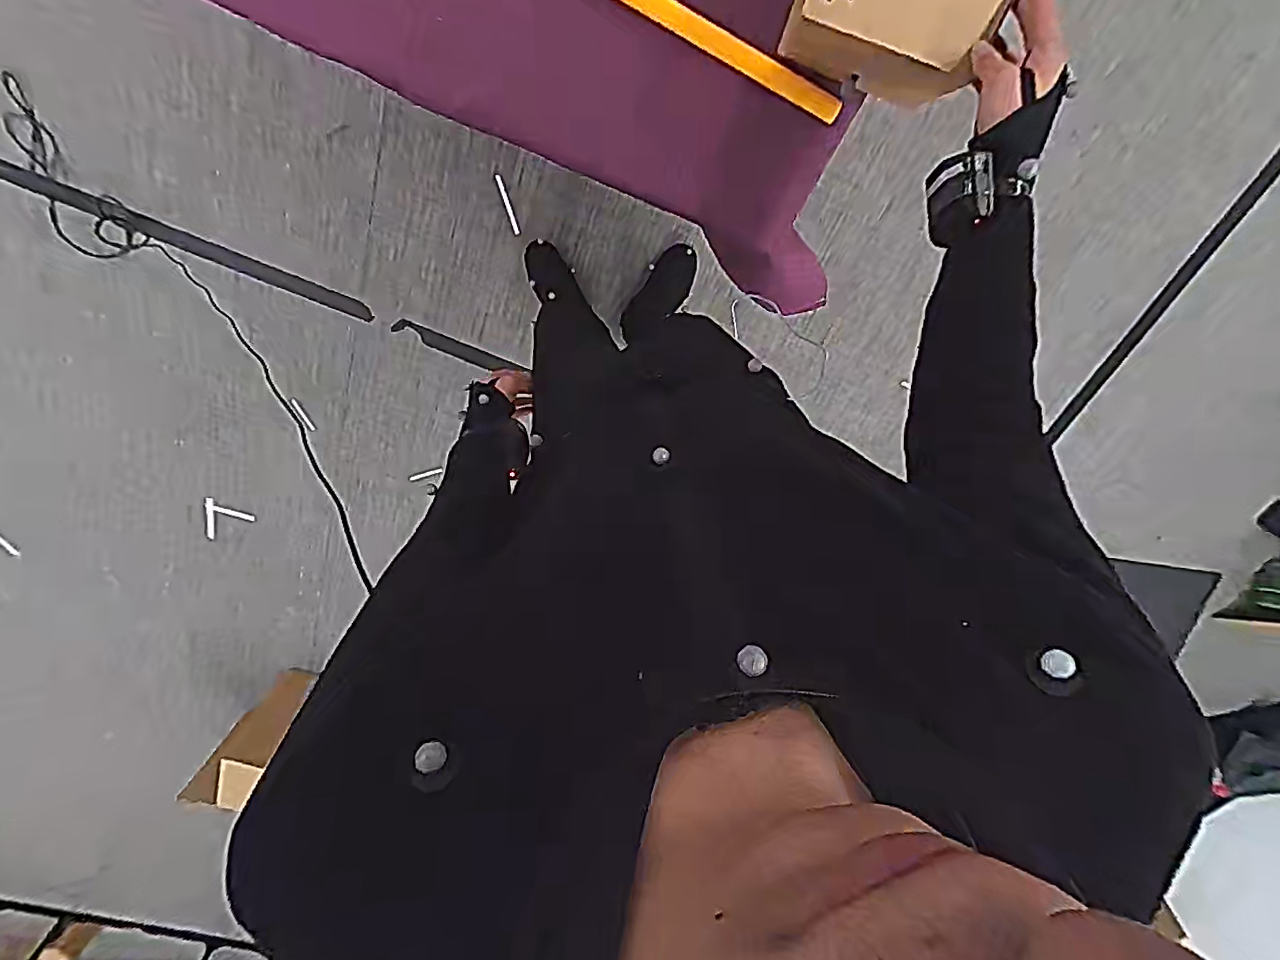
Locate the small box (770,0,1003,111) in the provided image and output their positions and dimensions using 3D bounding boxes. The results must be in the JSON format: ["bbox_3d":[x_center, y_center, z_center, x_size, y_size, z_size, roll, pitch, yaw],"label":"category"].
[{"bbox_3d":[0.251,-0.497,0.545,0.179,0.176,0.168,18,118,-5],"label":"small box"}]
